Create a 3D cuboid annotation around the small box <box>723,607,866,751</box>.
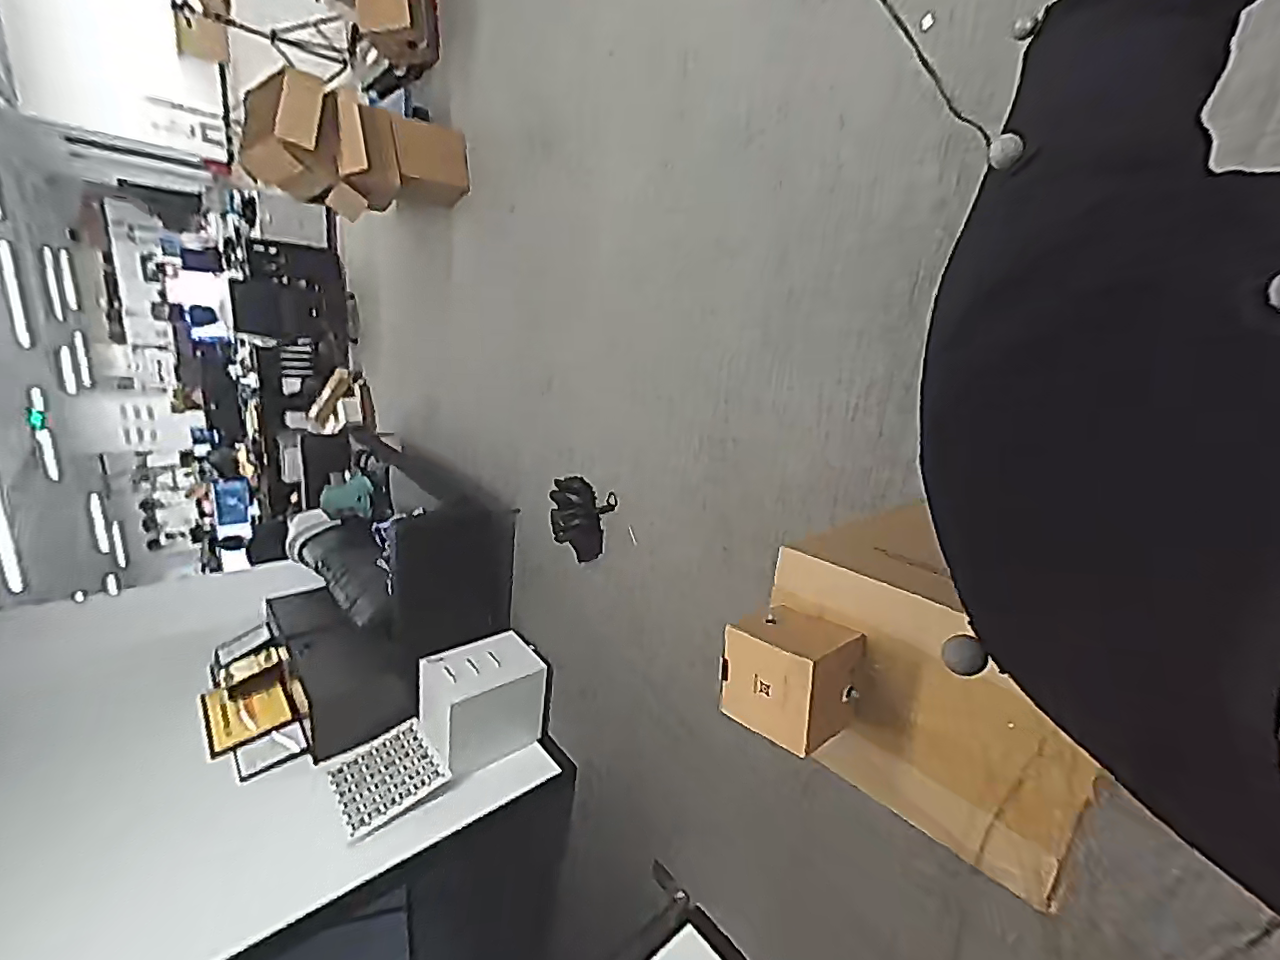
[{"bbox_3d":[0.271,0.335,0.955,0.179,0.176,0.168,10,101,47],"label":"small box"}]
